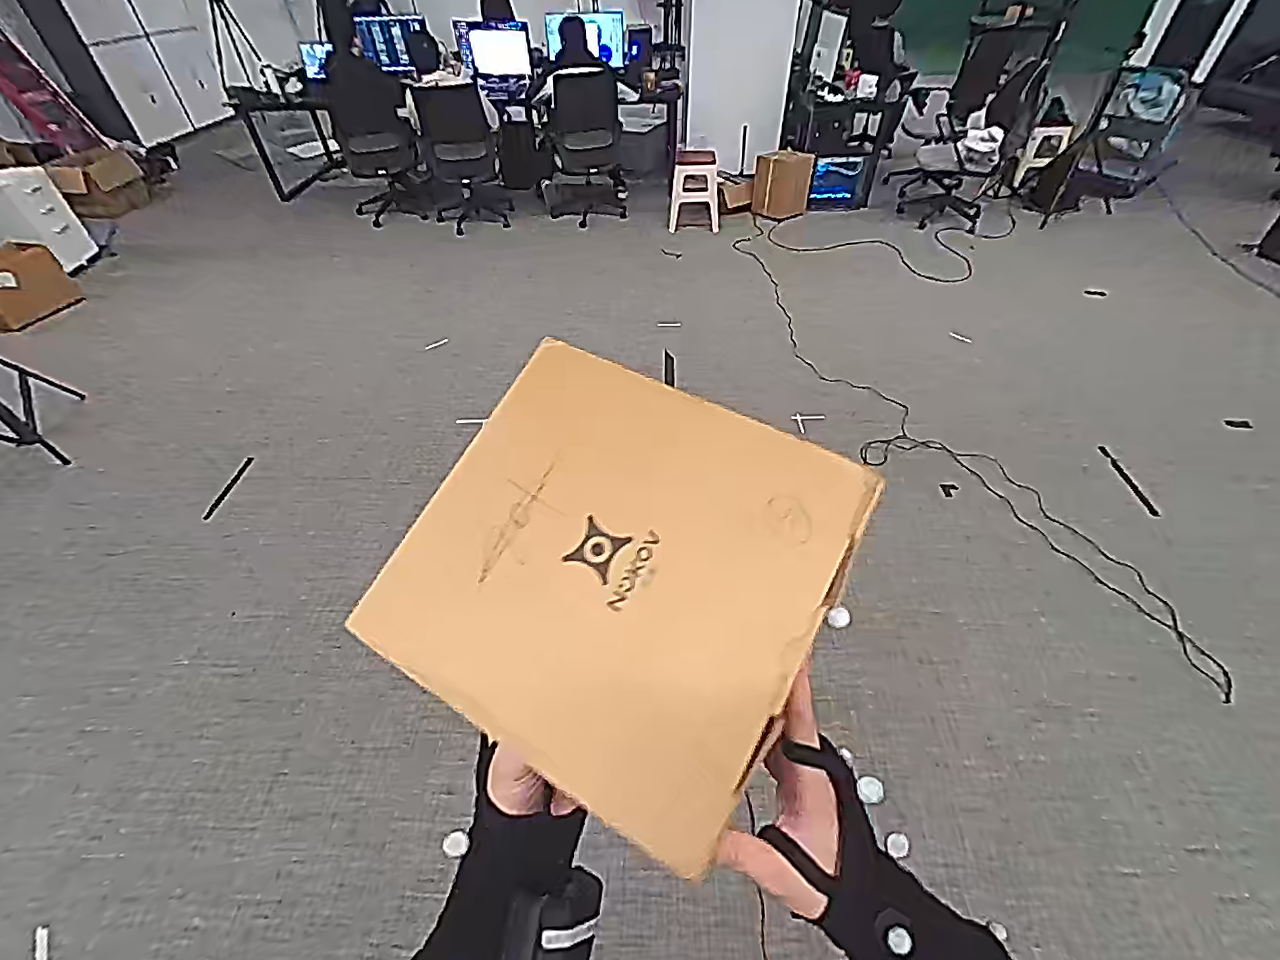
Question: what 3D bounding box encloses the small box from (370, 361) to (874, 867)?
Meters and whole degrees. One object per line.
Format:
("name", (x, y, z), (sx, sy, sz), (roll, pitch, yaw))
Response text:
("small box", (0.002, 0.067, 0.312), (0.179, 0.176, 0.168), (25, 73, 19))
